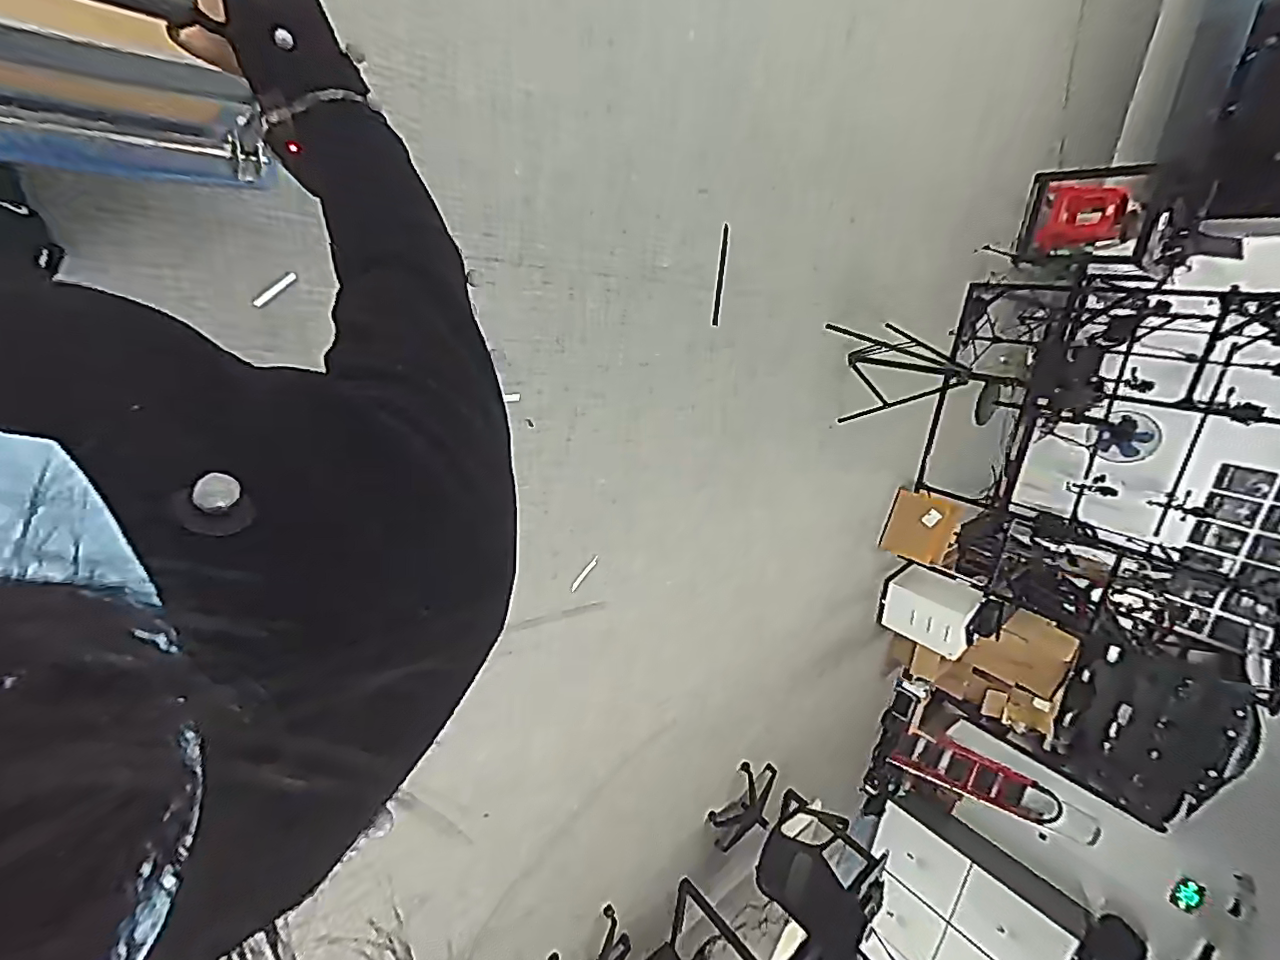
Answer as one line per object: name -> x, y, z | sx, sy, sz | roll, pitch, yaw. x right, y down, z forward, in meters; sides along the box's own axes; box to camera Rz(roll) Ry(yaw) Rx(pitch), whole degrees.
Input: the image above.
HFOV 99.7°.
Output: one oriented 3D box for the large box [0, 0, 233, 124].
large box -> -0.774, -0.661, 0.634 | 0.408, 0.320, 0.320 | -14, 116, -40
